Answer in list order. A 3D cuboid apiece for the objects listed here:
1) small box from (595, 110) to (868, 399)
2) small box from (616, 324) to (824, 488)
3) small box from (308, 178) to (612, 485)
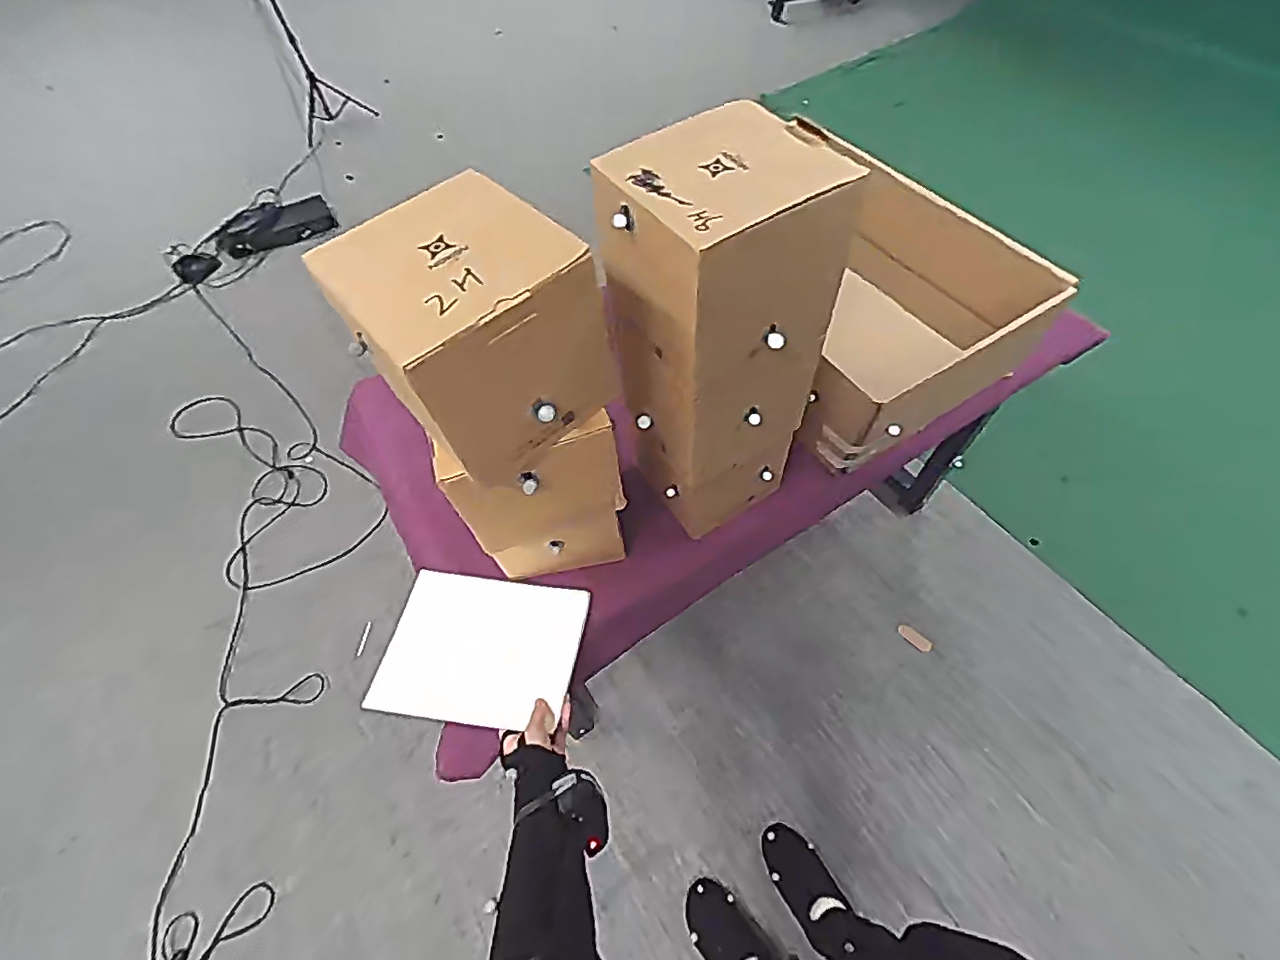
[{"bbox_3d":[0.076,-0.213,0.522,0.179,0.176,0.168,-29,58,-15],"label":"small box"},{"bbox_3d":[0.088,-0.124,0.659,0.179,0.176,0.168,-29,59,-13],"label":"small box"},{"bbox_3d":[-0.146,-0.128,0.488,0.168,0.176,0.179,-39,63,-17],"label":"small box"}]
